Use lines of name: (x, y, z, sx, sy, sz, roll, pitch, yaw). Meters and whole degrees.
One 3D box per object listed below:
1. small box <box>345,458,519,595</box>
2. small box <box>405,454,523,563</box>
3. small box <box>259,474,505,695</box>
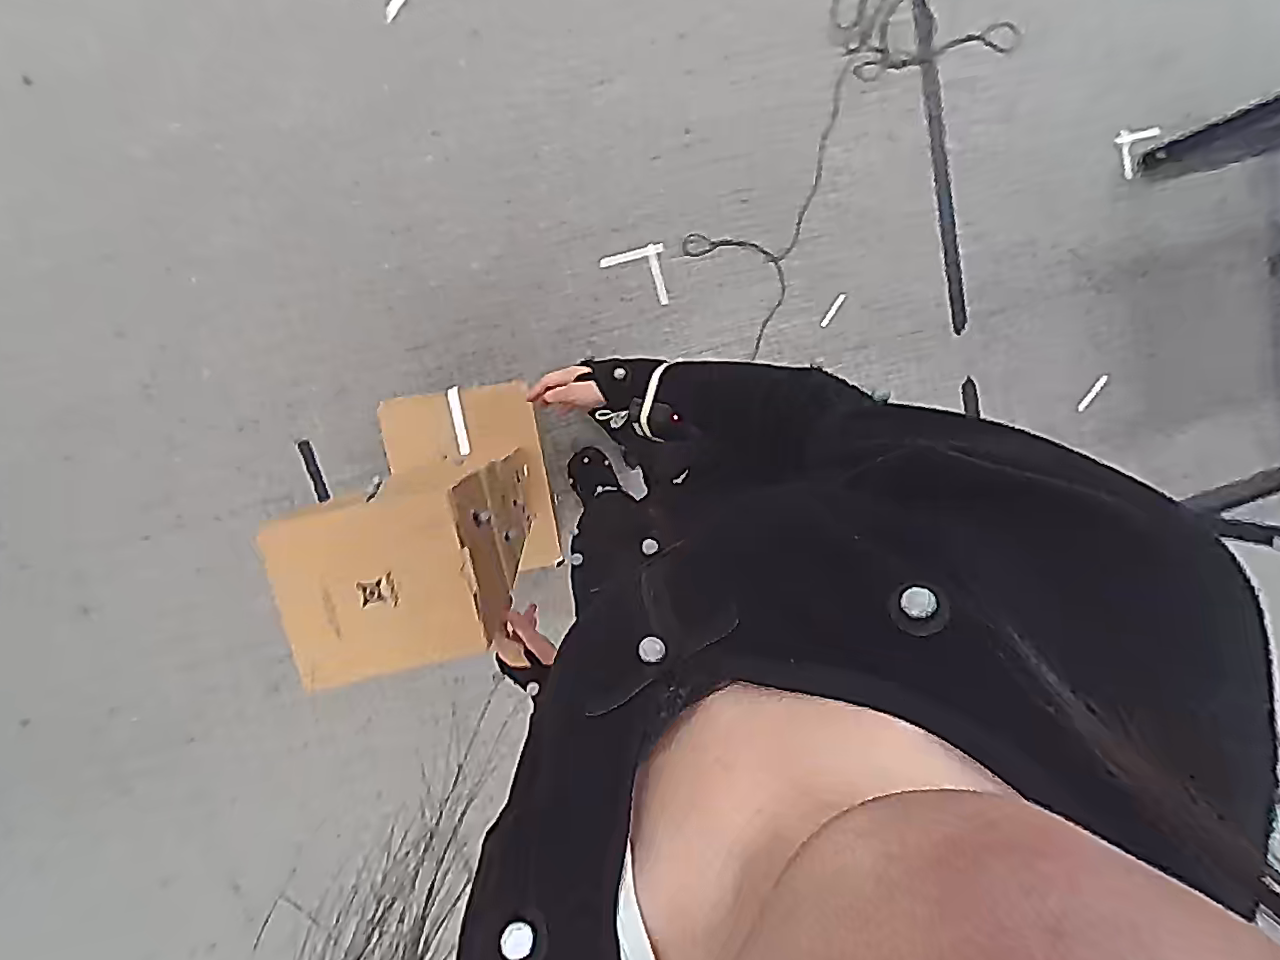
small box: (-0.268, 0.072, 0.739, 0.179, 0.176, 0.168, -13, 99, -6)
small box: (-0.294, 0.055, 0.900, 0.179, 0.176, 0.168, -11, 98, -8)
small box: (-0.250, 0.095, 0.580, 0.179, 0.176, 0.168, -13, 98, -5)
